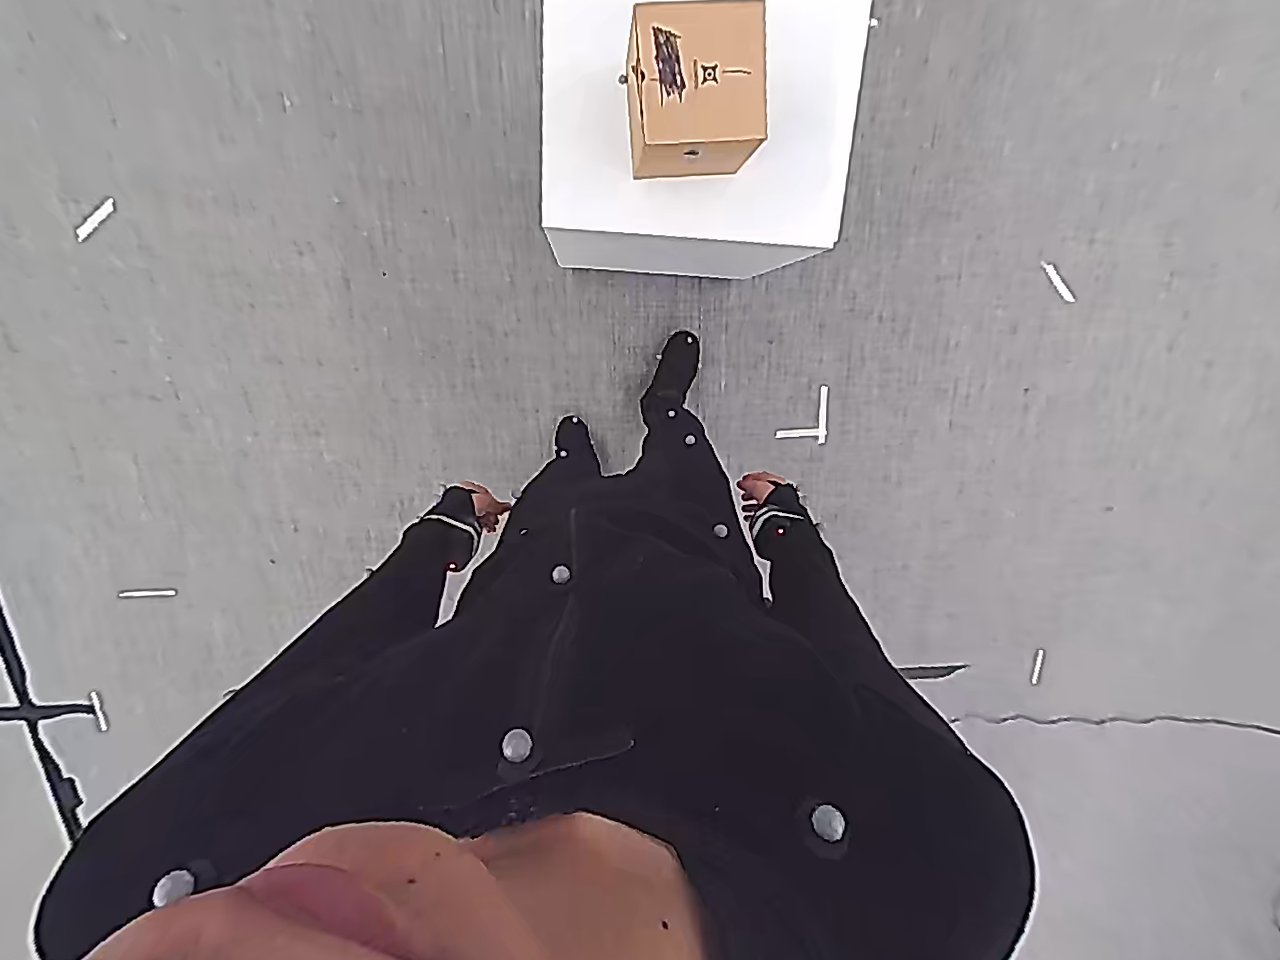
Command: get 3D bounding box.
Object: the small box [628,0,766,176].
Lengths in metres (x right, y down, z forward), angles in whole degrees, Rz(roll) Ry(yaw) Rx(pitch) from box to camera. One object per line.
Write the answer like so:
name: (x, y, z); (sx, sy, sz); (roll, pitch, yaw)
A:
small box: (0.075, -0.564, 0.798); (0.179, 0.176, 0.168); (-6, 106, -5)
